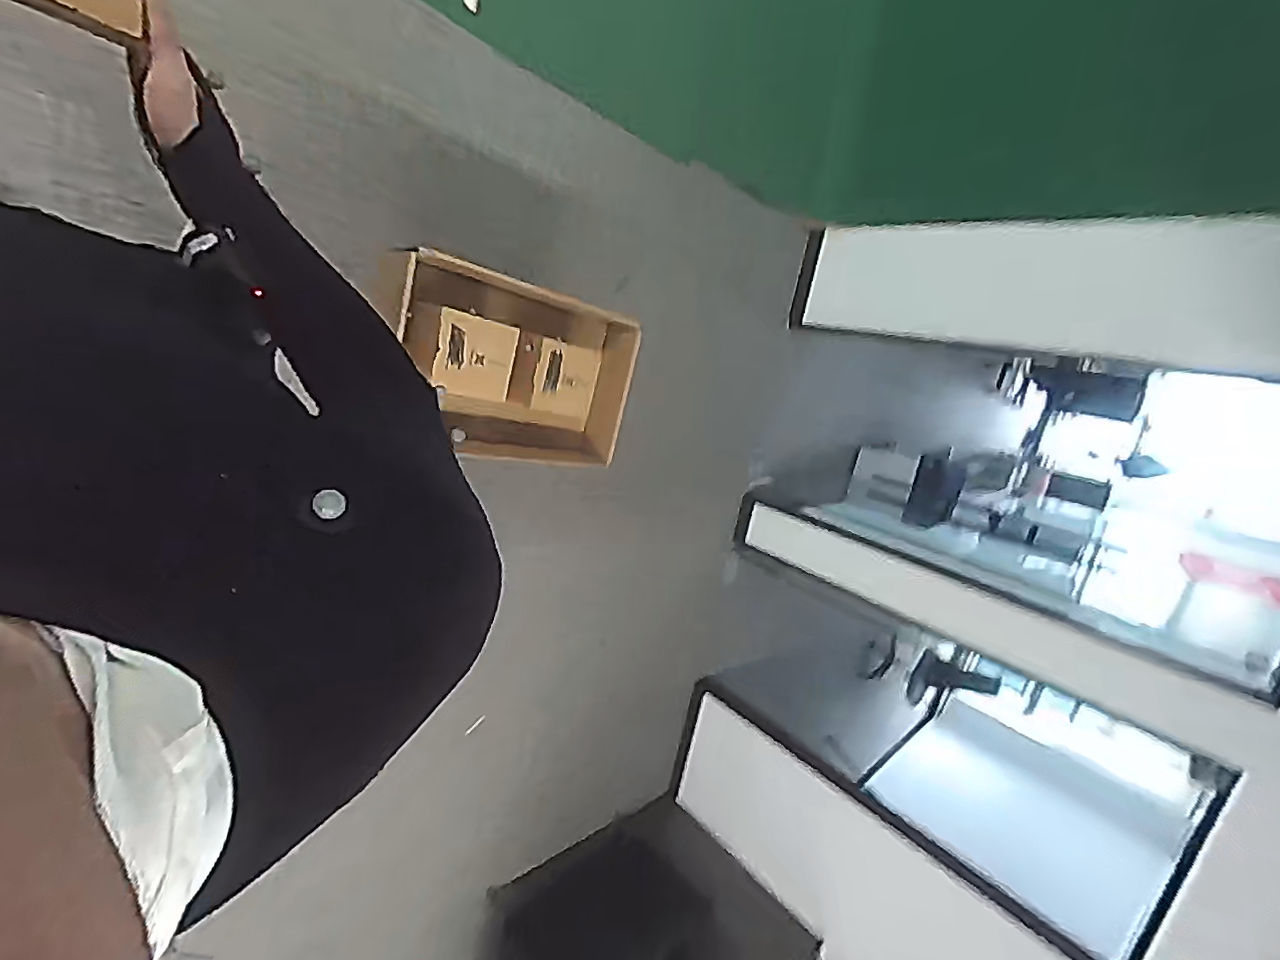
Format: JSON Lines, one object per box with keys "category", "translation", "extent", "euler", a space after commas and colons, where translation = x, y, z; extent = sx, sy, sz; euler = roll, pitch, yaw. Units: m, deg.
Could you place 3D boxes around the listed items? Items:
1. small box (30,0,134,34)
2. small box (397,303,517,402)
{"category": "small box", "translation": [-0.438, -0.428, 0.341], "extent": [0.168, 0.176, 0.179], "euler": [-3, 122, -46]}
{"category": "small box", "translation": [-0.398, -0.276, 1.165], "extent": [0.179, 0.176, 0.168], "euler": [5, 104, -47]}
